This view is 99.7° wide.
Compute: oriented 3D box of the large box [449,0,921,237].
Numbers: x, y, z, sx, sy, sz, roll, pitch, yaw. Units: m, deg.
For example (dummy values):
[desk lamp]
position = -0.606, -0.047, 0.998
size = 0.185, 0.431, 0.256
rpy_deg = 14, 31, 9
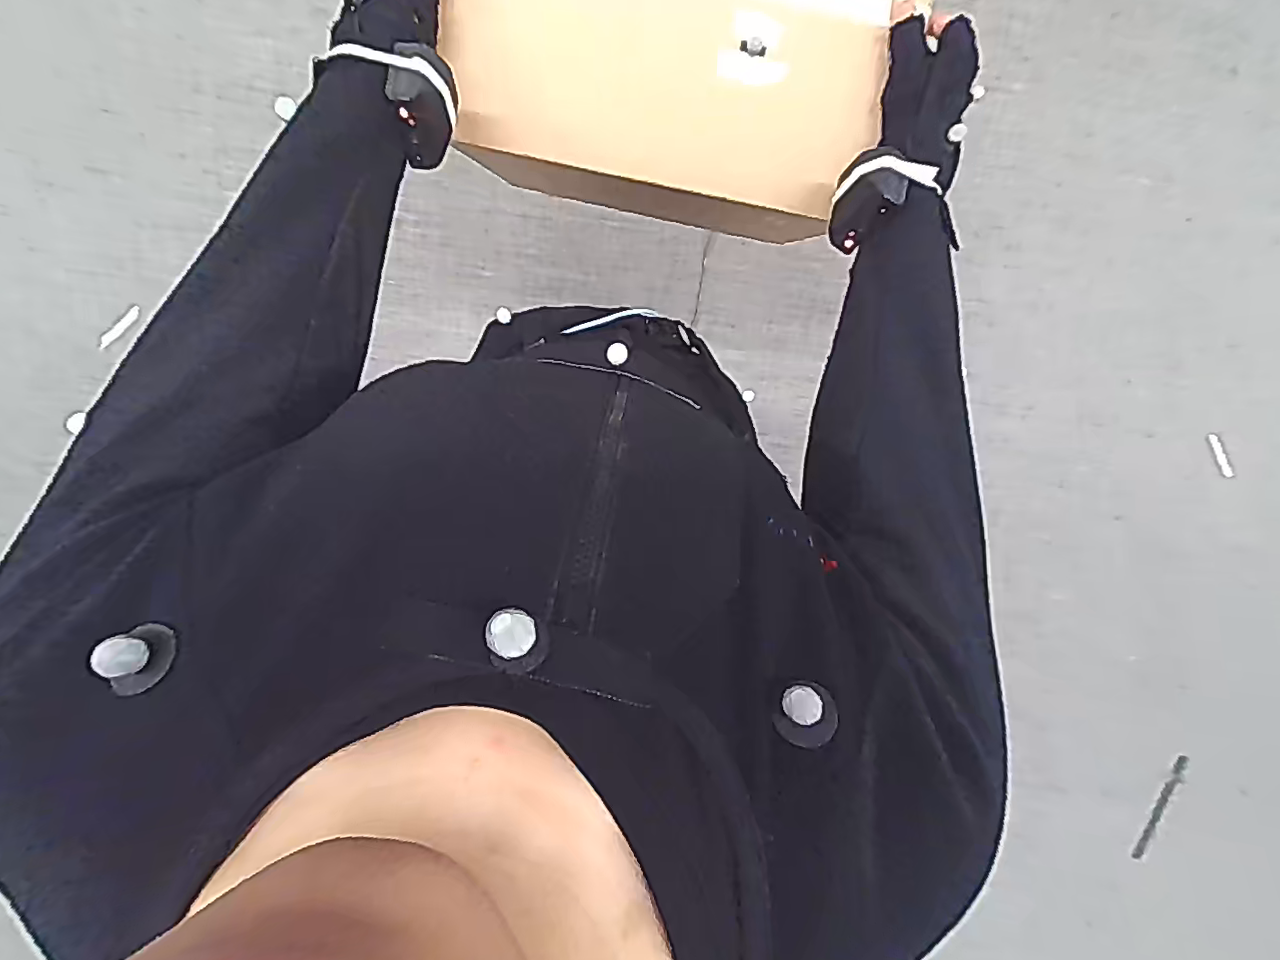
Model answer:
[large box]
position = 0.040, -0.477, 0.598
size = 0.408, 0.320, 0.320
rpy_deg = 10, 112, -4
